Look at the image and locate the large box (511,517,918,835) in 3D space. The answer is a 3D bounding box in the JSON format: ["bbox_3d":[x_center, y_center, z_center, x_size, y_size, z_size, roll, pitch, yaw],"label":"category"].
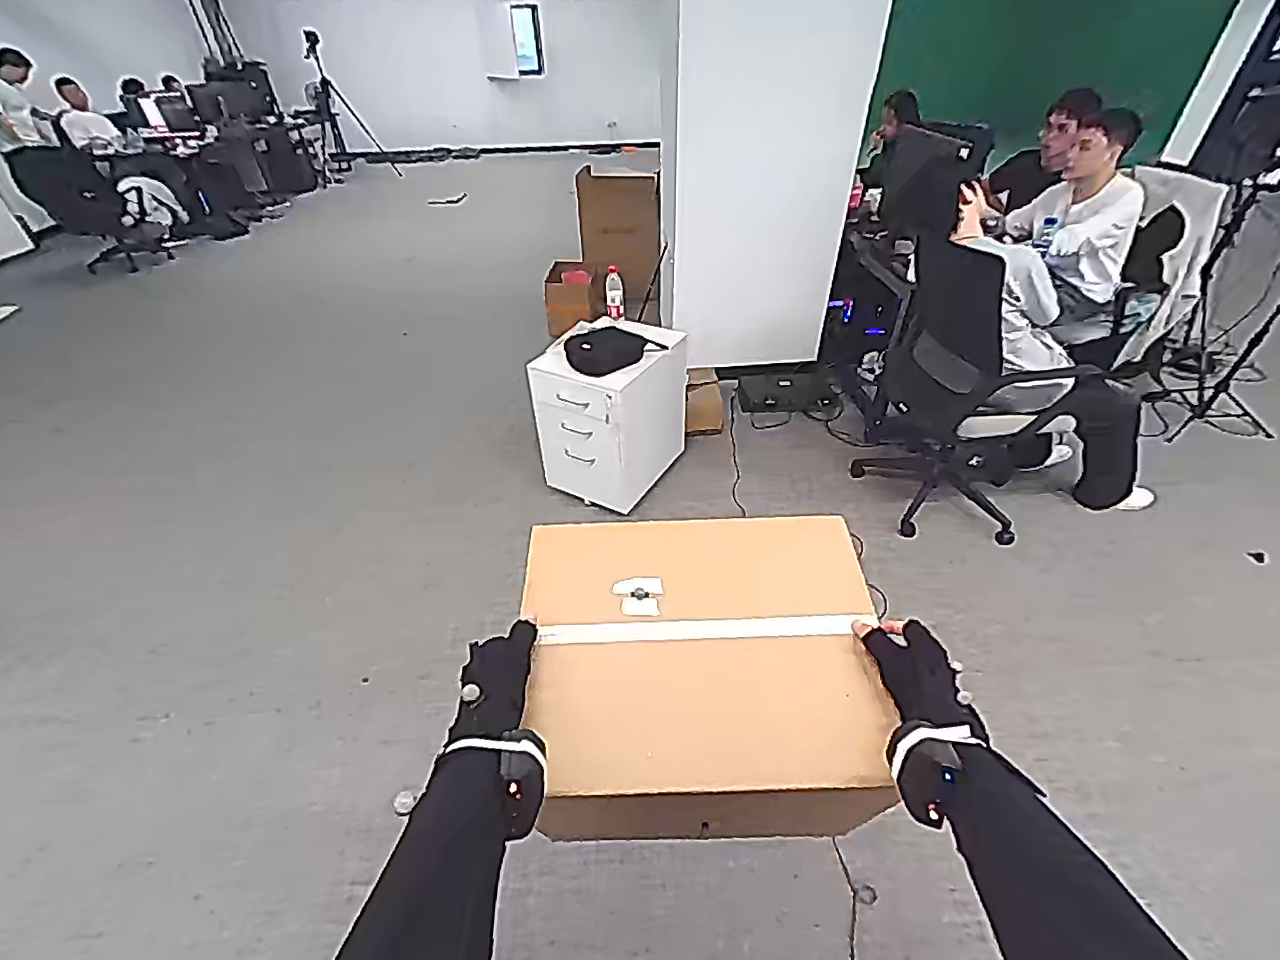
[{"bbox_3d":[0.075,0.272,0.730,0.408,0.320,0.320,-3,49,1],"label":"large box"}]
